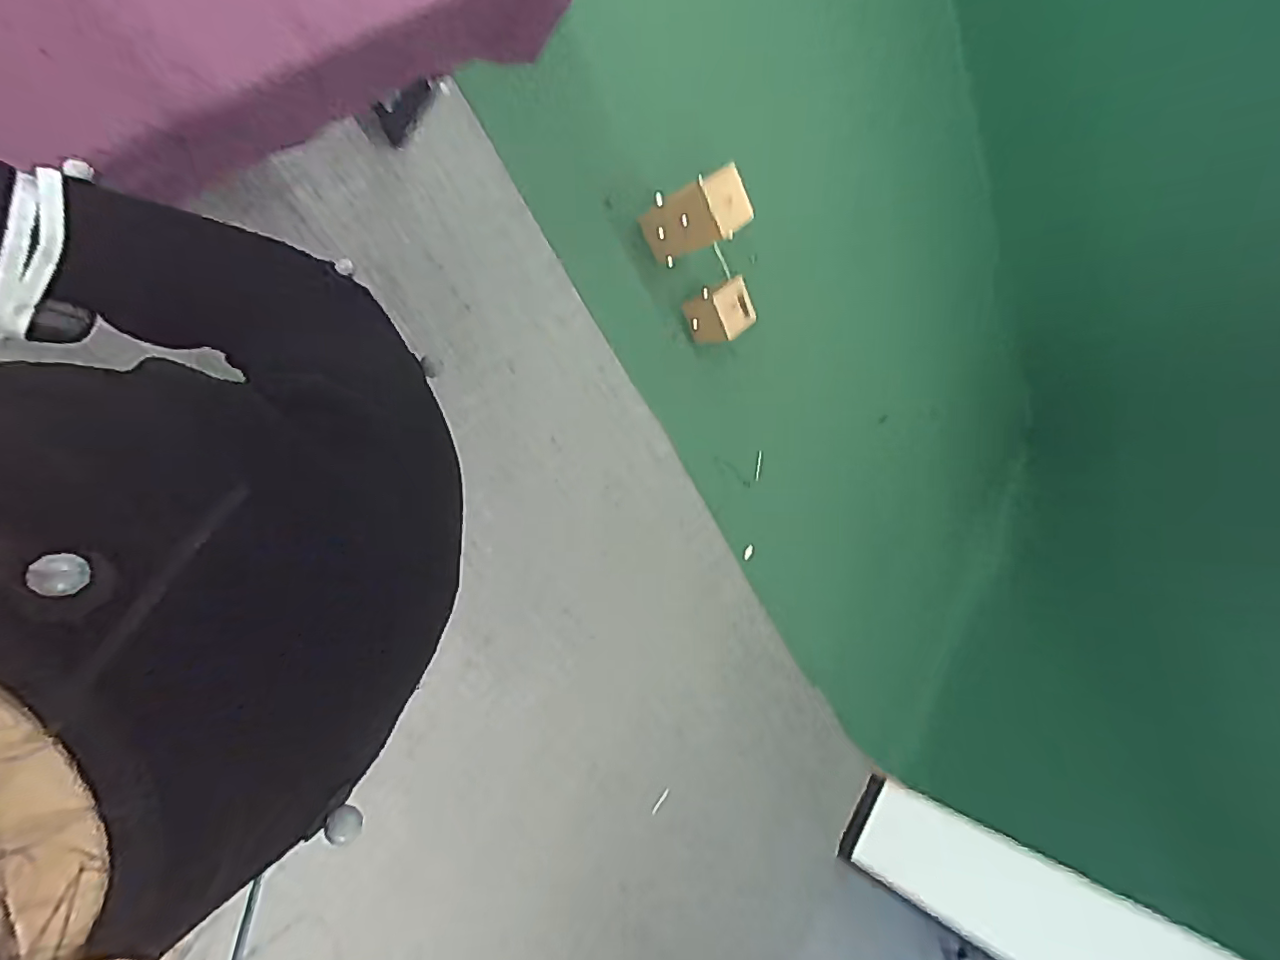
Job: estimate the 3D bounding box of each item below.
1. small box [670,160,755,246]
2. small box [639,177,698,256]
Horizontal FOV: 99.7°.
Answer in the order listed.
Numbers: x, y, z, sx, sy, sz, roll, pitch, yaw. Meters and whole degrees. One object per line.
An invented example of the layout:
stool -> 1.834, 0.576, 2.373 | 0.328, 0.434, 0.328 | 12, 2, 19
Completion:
small box -> 0.229, -0.876, 1.716 | 0.179, 0.176, 0.168 | -45, 118, -25
small box -> 0.131, -0.889, 1.847 | 0.168, 0.176, 0.179 | -45, 117, -26
